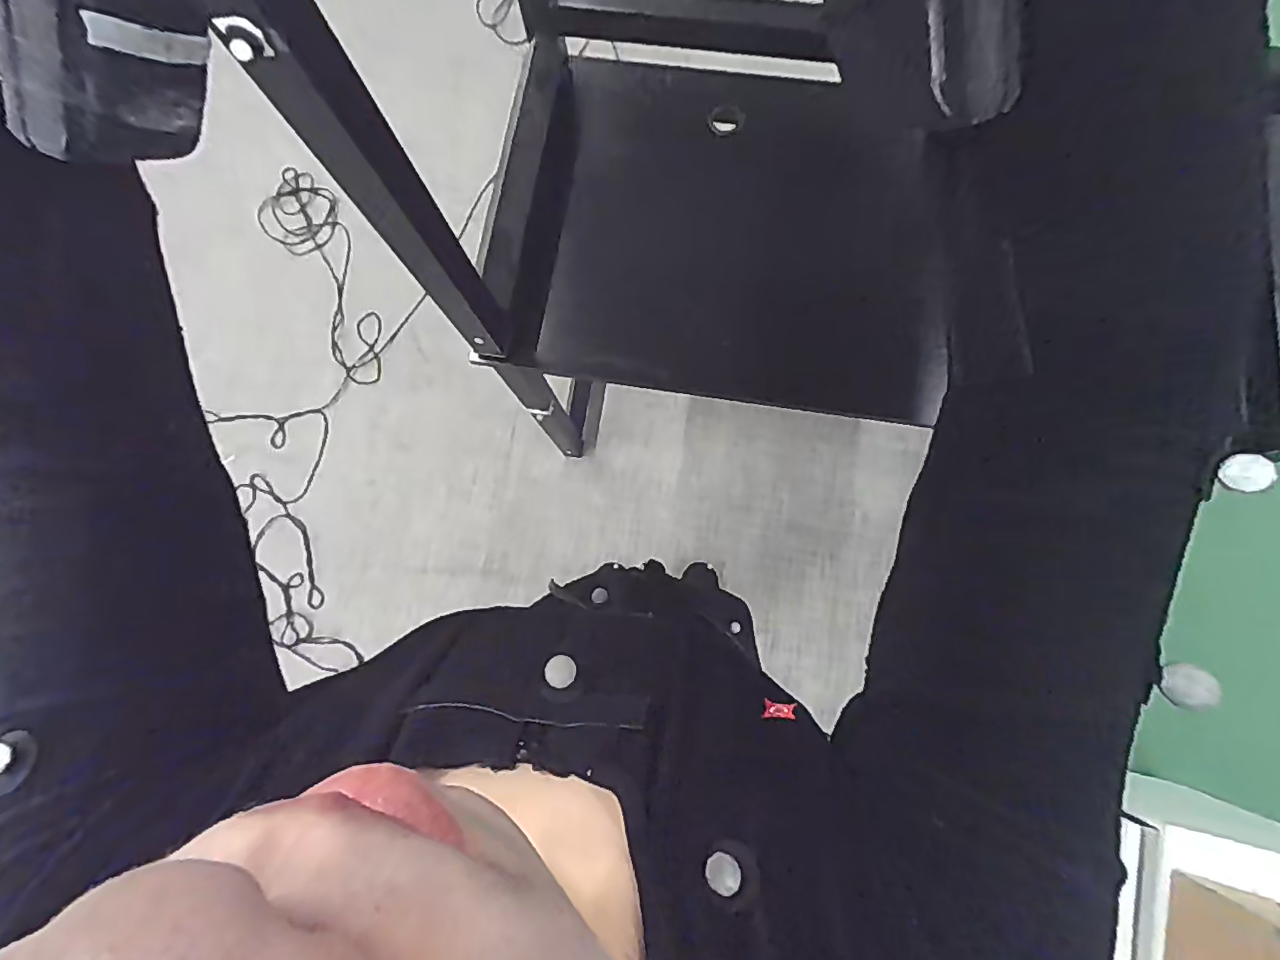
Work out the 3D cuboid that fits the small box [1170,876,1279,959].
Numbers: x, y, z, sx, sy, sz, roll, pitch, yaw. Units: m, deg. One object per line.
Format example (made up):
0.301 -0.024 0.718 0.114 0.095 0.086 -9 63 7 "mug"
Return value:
0.855 0.669 0.706 0.168 0.176 0.179 16 81 5 "small box"
